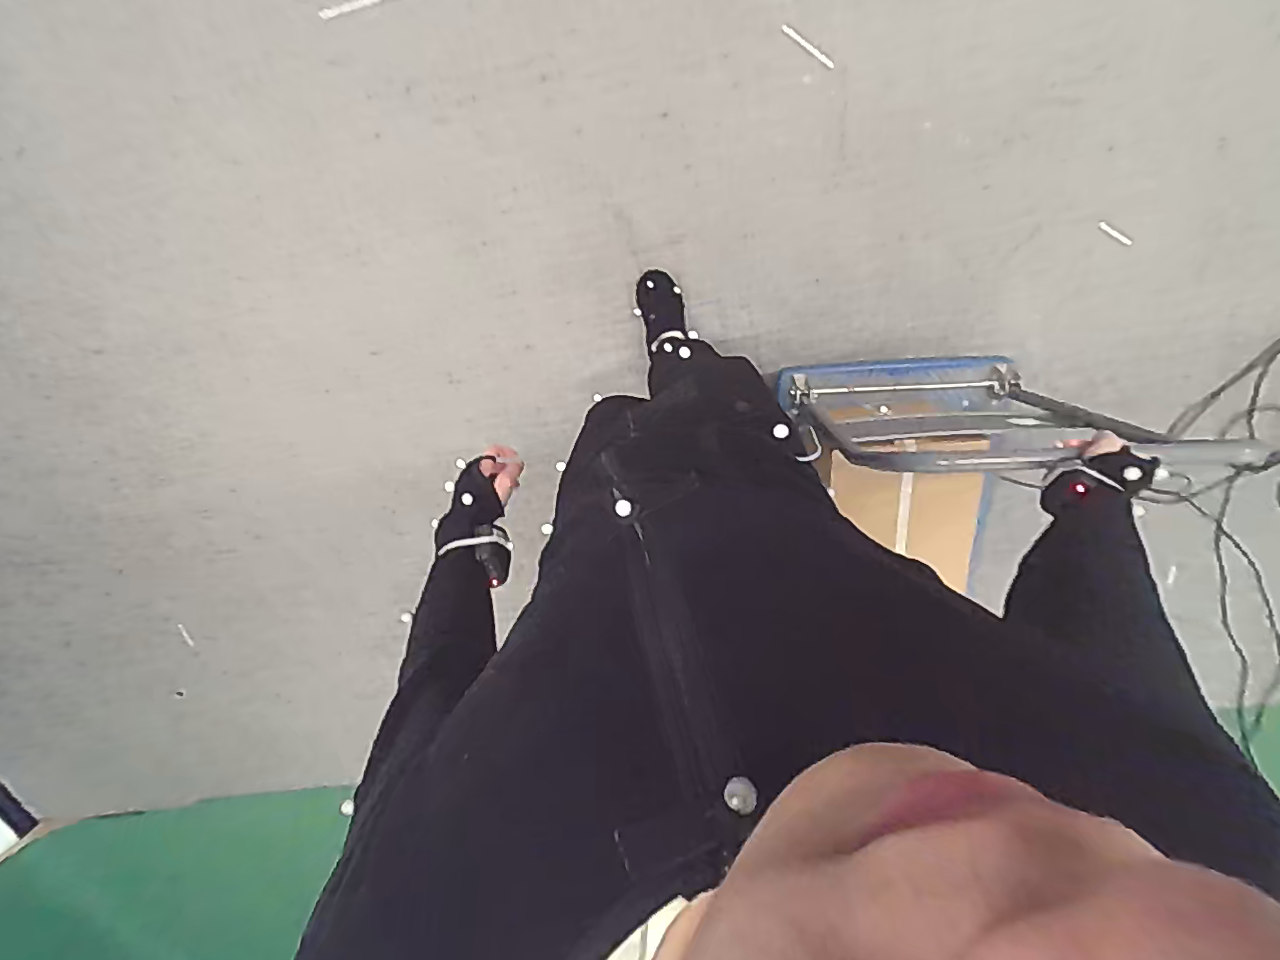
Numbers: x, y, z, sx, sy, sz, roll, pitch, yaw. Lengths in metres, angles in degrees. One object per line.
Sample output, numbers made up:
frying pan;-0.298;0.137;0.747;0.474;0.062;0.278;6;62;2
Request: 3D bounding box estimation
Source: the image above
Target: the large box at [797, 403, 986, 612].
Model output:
large box;0.571;0.056;1.307;0.320;0.320;0.408;-4;113;5
